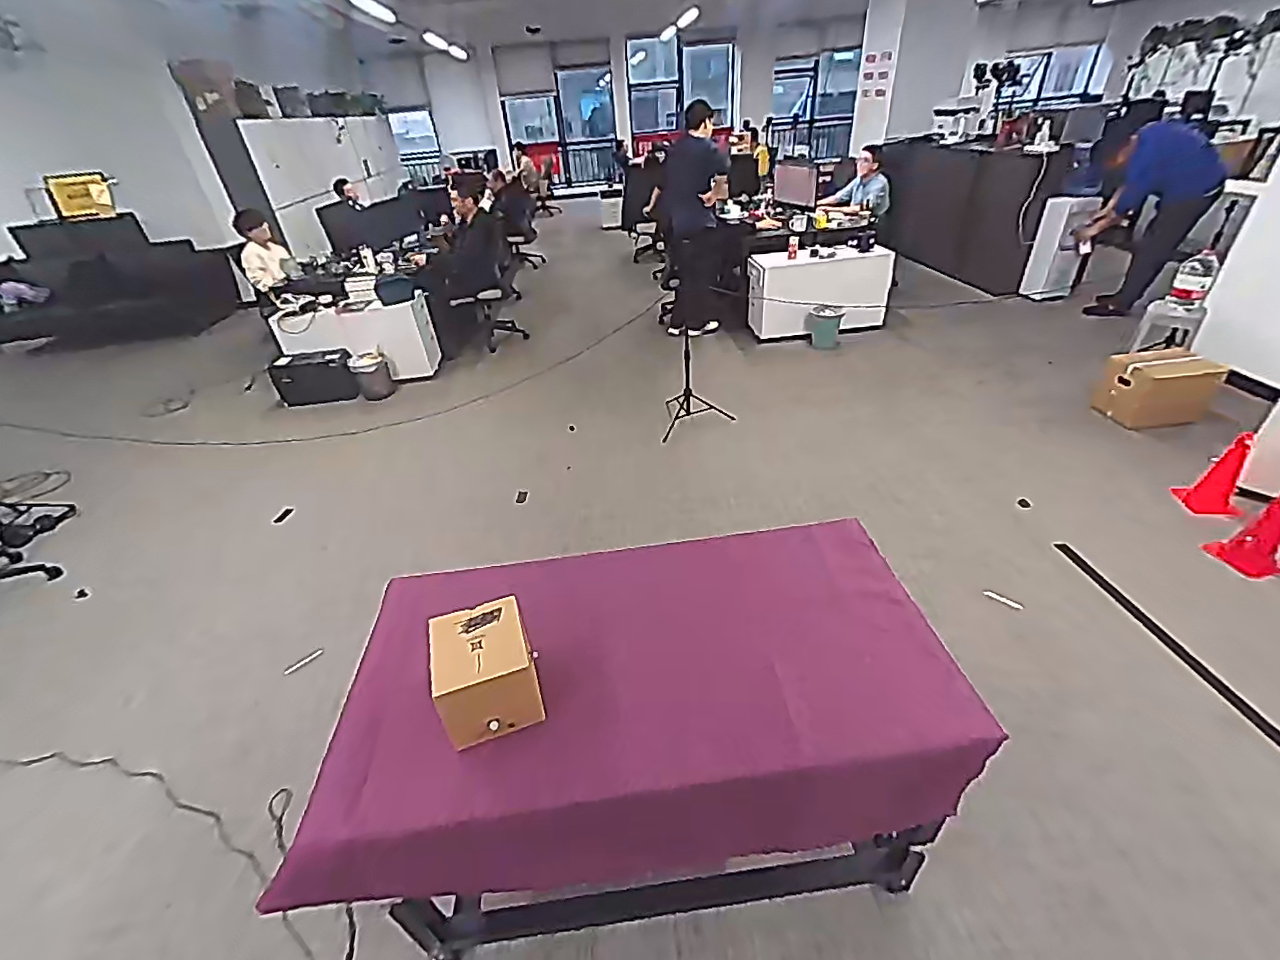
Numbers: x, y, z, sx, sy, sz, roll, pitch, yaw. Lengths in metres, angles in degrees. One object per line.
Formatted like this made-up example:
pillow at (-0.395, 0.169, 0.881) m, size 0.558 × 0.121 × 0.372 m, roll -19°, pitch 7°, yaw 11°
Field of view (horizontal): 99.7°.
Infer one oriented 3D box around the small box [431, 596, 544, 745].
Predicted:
small box at (-0.286, 0.354, 1.015) m, size 0.168 × 0.176 × 0.179 m, roll -15°, pitch 37°, yaw -13°
